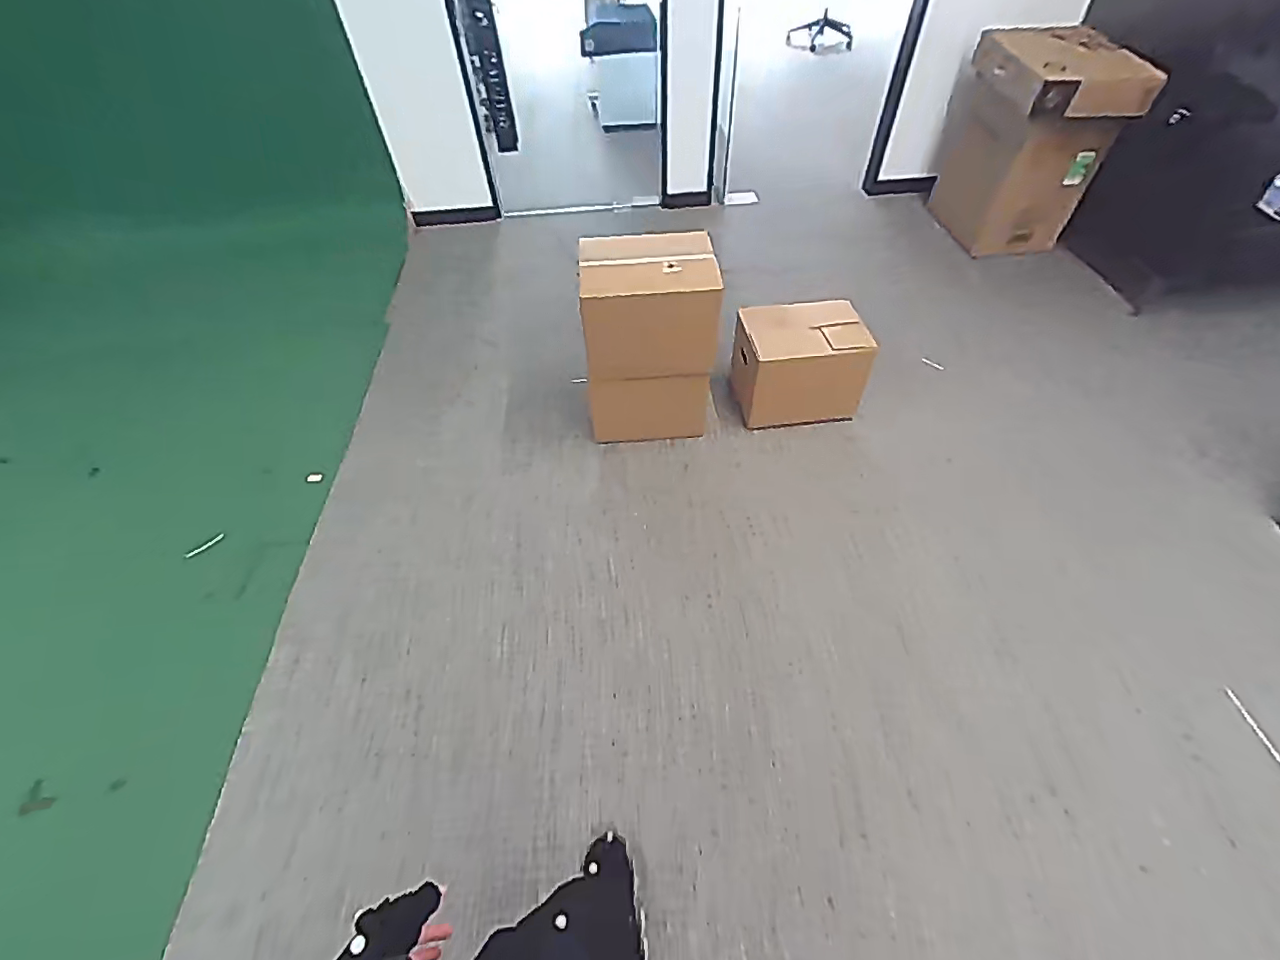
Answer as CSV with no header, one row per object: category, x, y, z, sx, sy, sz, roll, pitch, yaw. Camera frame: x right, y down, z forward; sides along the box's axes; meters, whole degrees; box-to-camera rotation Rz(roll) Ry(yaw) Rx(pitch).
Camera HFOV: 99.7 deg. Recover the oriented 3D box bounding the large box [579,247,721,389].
large box,0.019,-0.509,1.710,0.408,0.320,0.320,-3,52,-2
